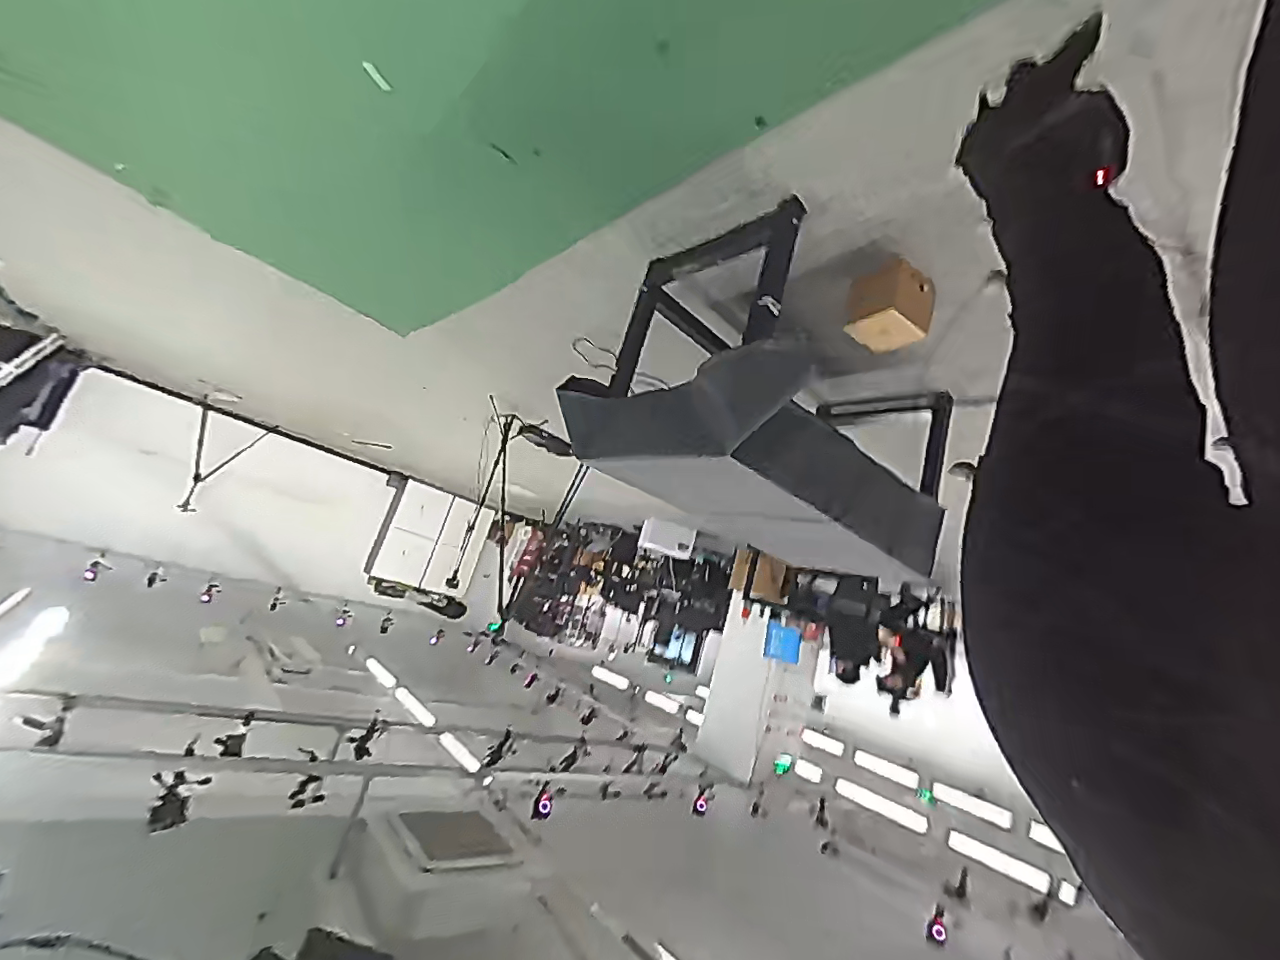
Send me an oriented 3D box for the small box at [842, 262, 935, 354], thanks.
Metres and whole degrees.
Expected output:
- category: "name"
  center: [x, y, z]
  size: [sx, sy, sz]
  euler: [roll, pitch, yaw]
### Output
- category: "small box"
  center: [0.729, -0.499, 1.582]
  size: [0.168, 0.176, 0.179]
  euler: [23, 167, -26]
